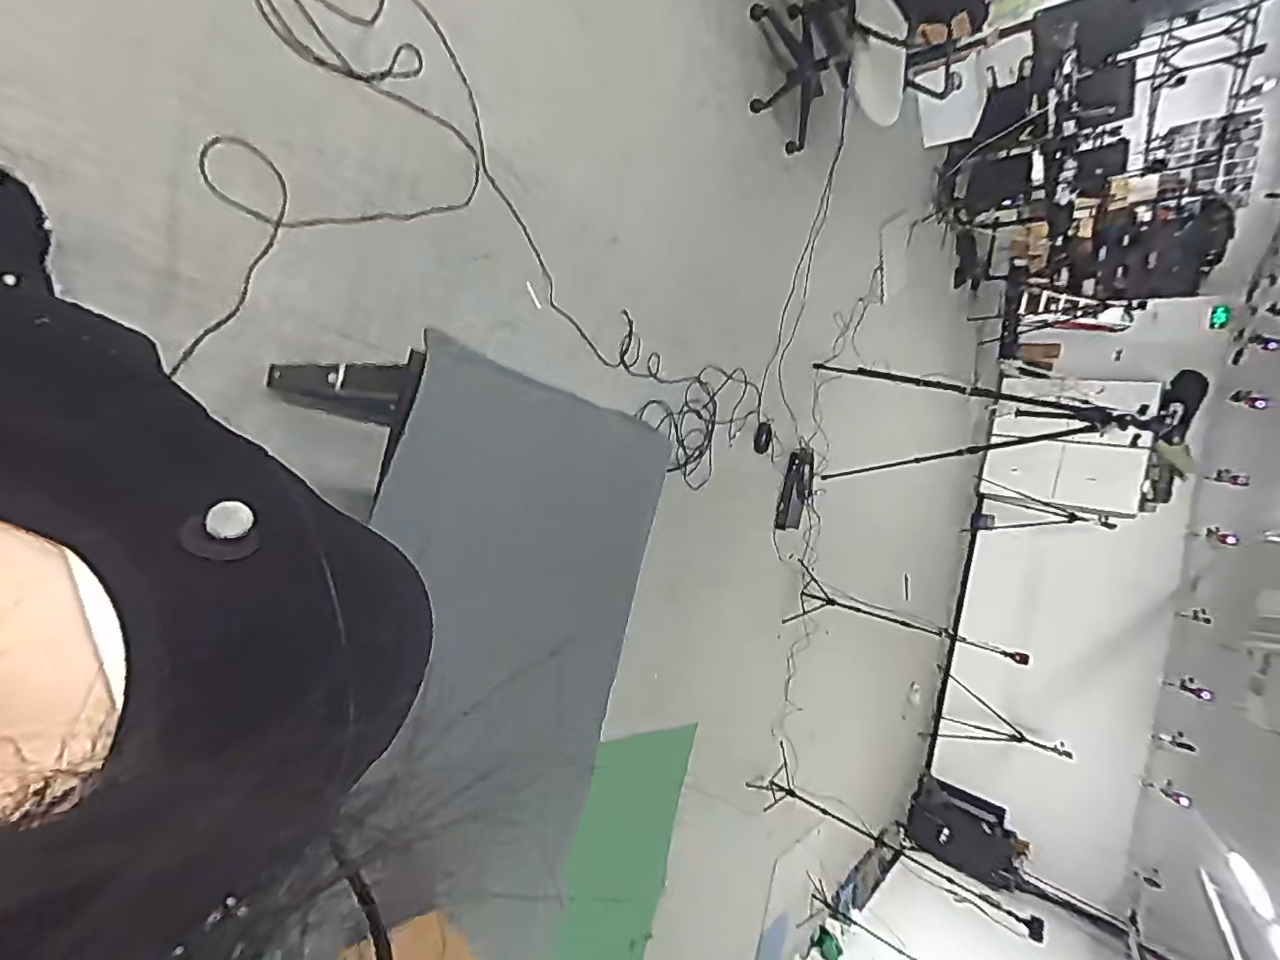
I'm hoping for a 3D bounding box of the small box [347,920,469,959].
[{"bbox_3d":[-0.359,0.822,0.817,0.179,0.176,0.168,24,79,-51],"label":"small box"}]
